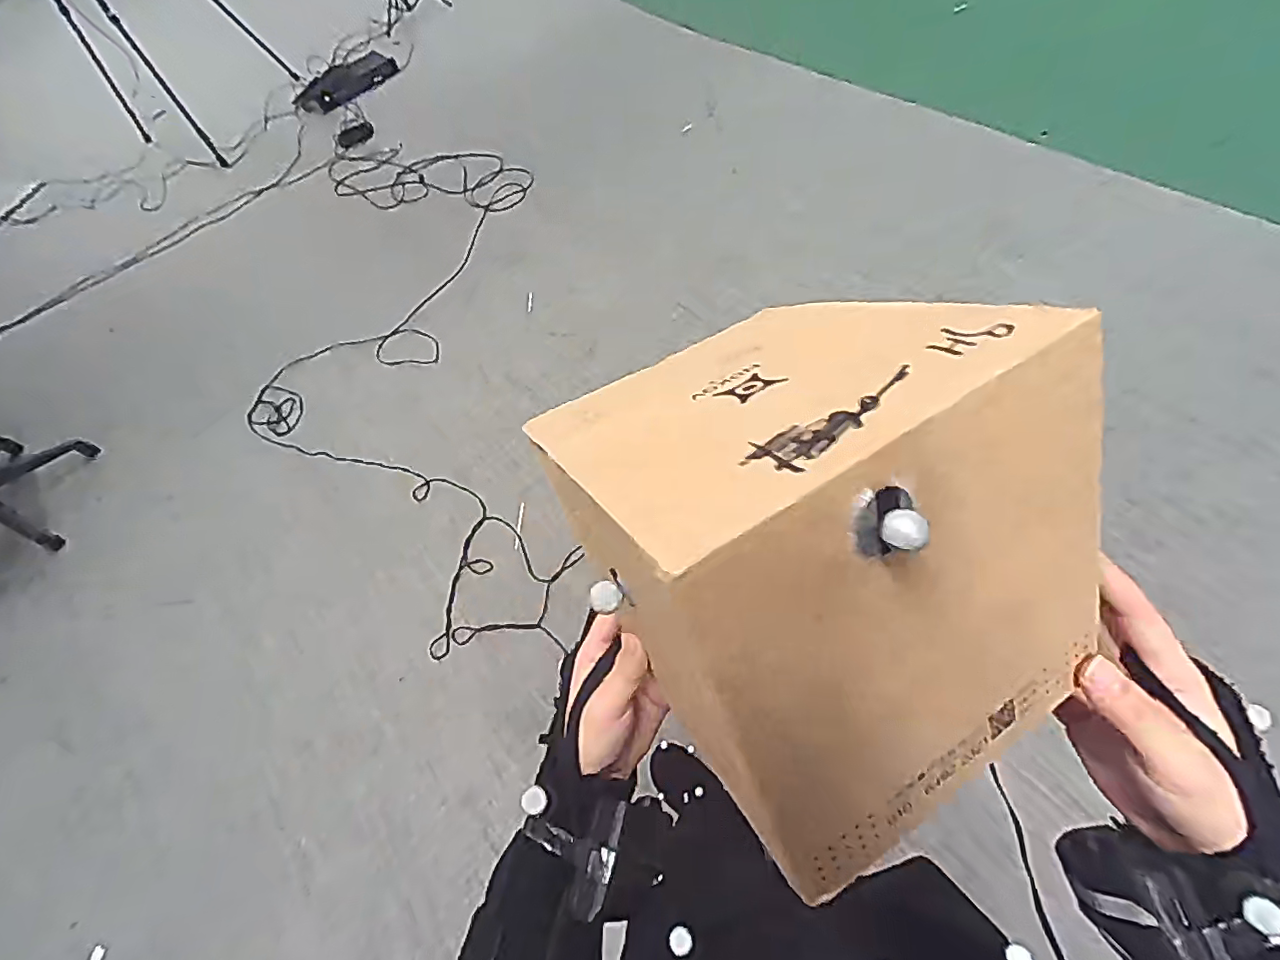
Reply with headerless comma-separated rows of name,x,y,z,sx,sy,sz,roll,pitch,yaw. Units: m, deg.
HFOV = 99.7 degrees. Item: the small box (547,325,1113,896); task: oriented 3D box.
small box,0.079,0.038,0.264,0.168,0.176,0.179,-30,26,-14
